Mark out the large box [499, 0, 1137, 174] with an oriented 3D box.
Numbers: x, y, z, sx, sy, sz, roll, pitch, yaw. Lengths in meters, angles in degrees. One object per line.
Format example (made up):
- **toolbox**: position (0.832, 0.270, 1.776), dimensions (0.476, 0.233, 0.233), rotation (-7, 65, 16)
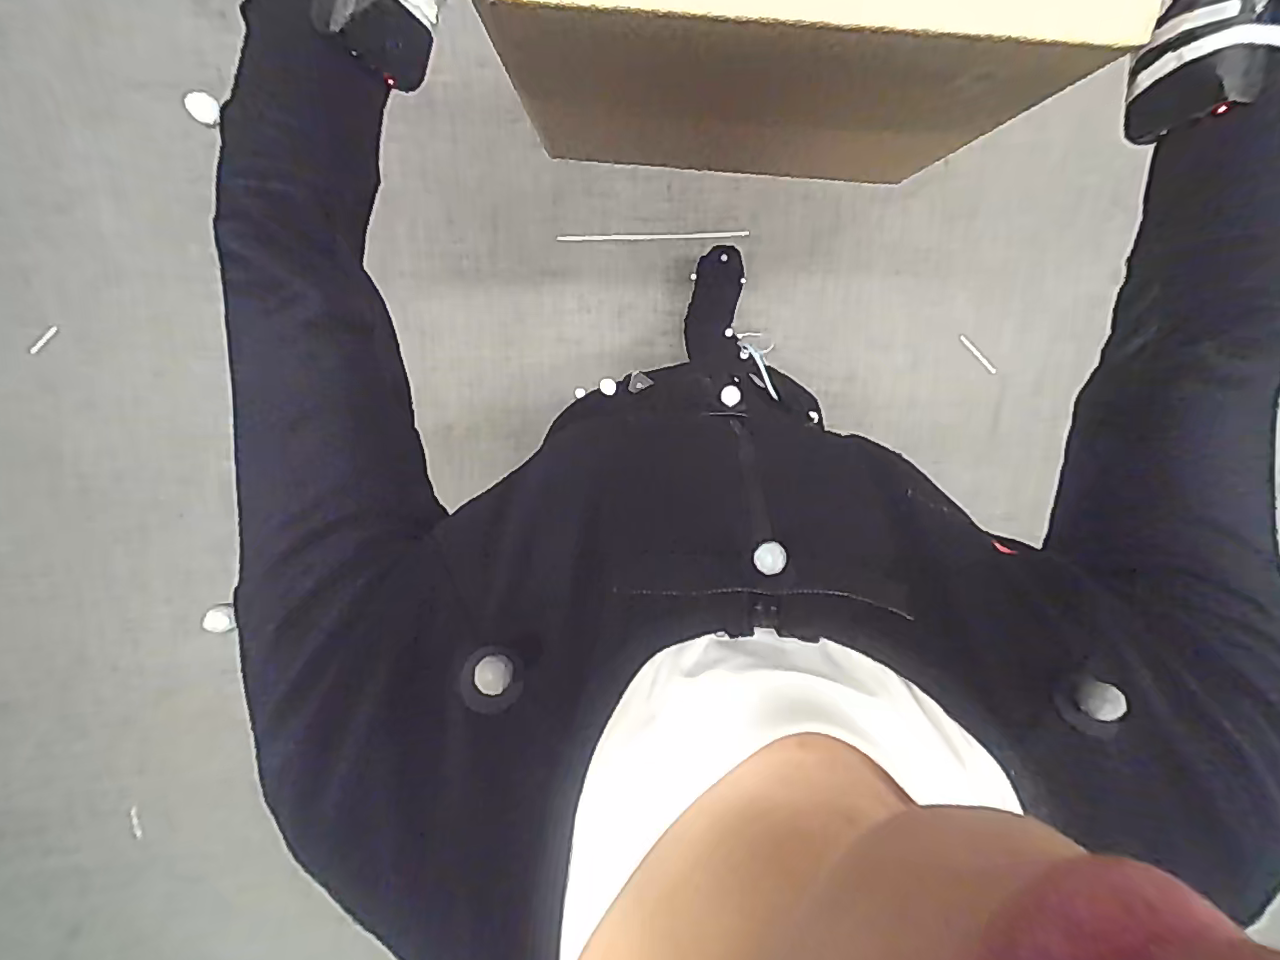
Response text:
- **large box**: position (0.108, -0.466, 0.436), dimensions (0.408, 0.320, 0.320), rotation (2, 106, -2)
